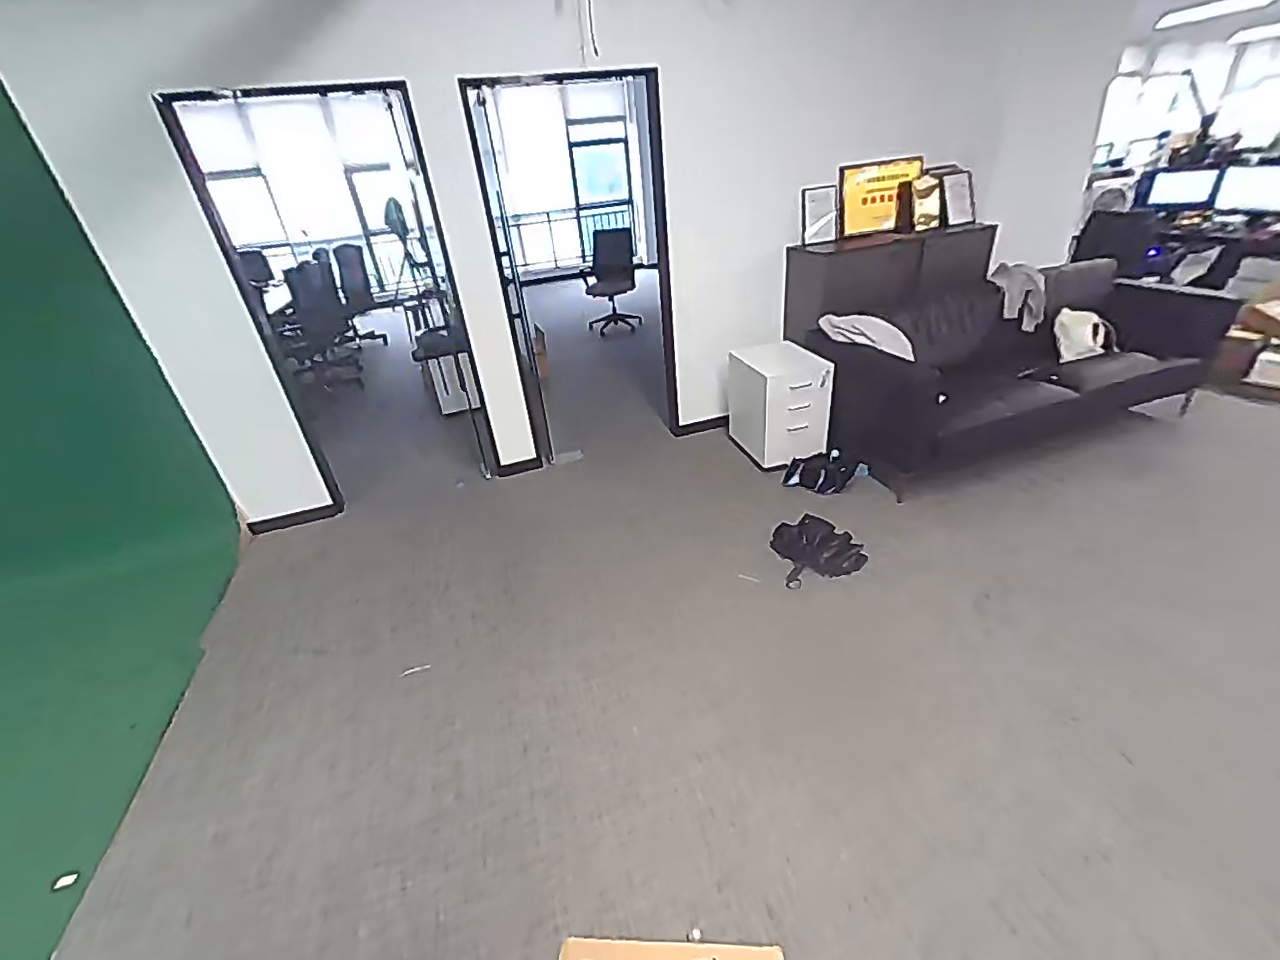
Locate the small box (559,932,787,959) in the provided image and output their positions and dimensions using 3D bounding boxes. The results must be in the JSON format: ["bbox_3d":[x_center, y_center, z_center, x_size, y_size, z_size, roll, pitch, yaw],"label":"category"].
[{"bbox_3d":[0.025,0.449,0.373,0.168,0.176,0.179,-2,36,5],"label":"small box"}]
